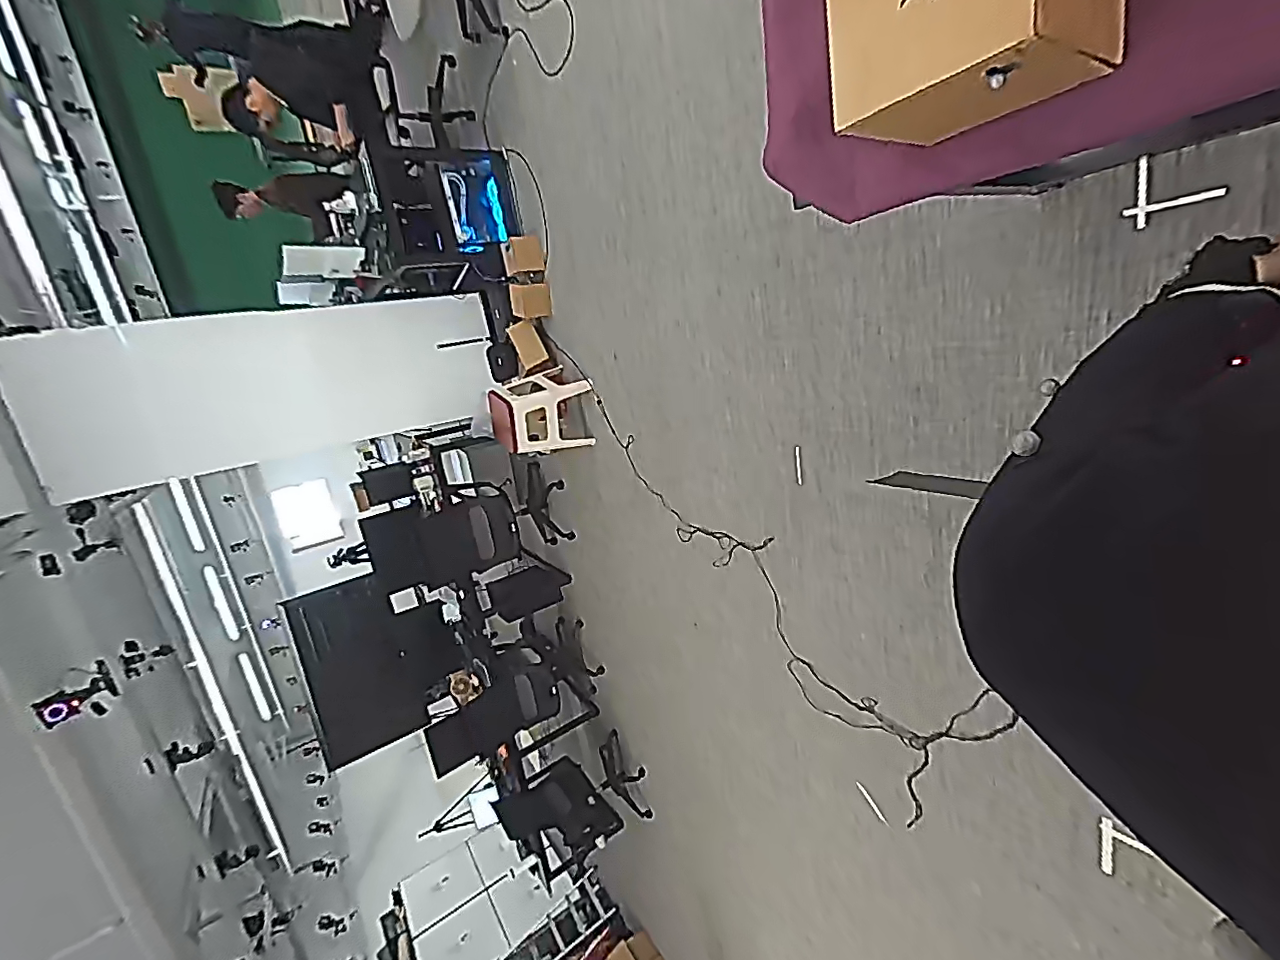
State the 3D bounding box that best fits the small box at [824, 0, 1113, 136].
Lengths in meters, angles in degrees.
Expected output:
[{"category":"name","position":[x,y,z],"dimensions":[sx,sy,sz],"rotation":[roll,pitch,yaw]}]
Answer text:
[{"category":"small box","position":[0.295,-0.439,0.495],"dimensions":[0.179,0.176,0.168],"rotation":[10,114,56]}]
